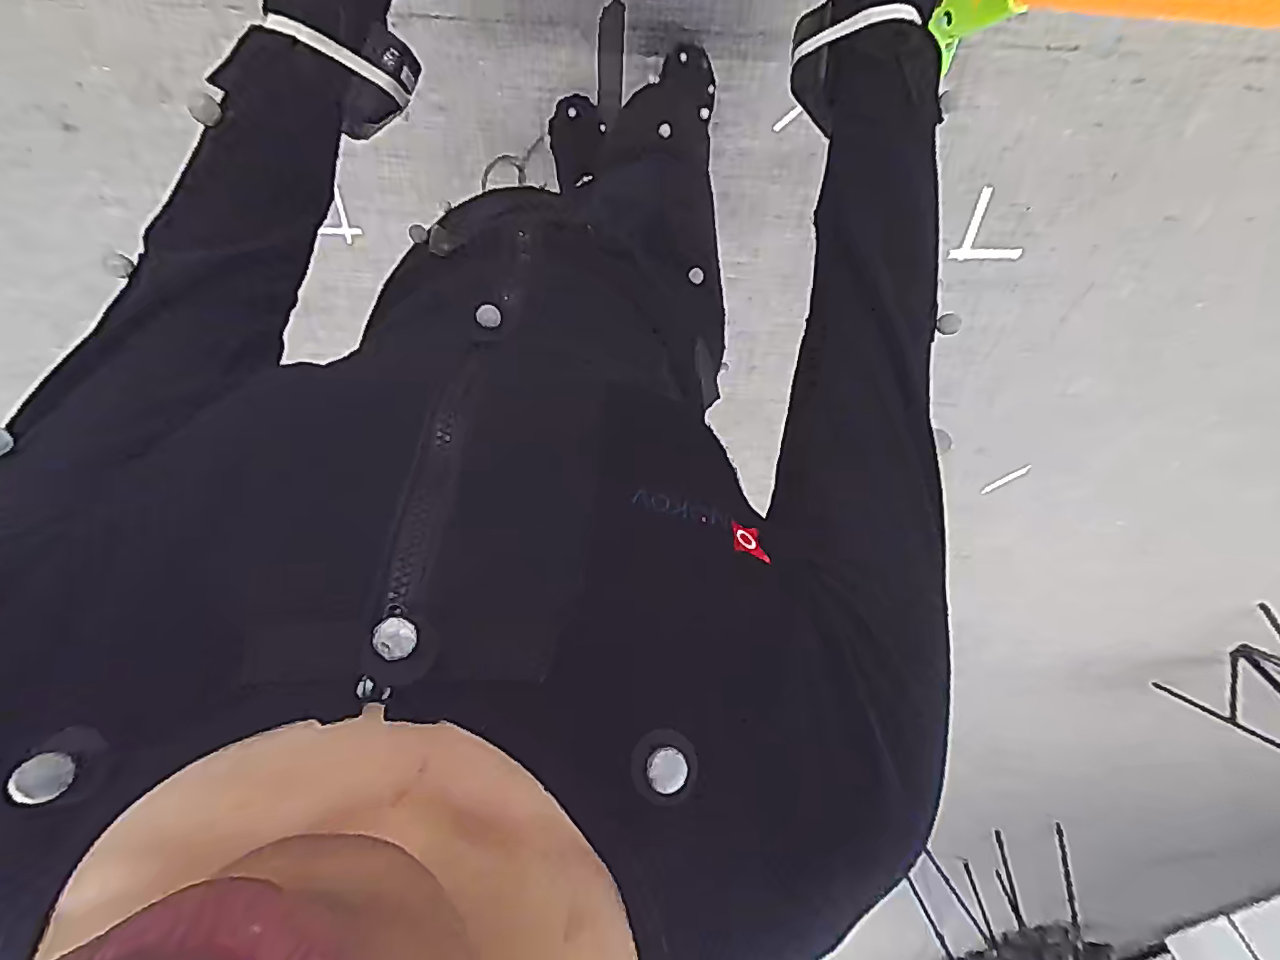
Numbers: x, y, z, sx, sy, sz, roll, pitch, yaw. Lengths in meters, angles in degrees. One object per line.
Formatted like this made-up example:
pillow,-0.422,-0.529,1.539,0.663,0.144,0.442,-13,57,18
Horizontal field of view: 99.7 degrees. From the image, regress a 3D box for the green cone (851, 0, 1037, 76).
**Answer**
green cone,0.525,-0.786,0.887,0.202,0.368,0.200,4,129,-6
